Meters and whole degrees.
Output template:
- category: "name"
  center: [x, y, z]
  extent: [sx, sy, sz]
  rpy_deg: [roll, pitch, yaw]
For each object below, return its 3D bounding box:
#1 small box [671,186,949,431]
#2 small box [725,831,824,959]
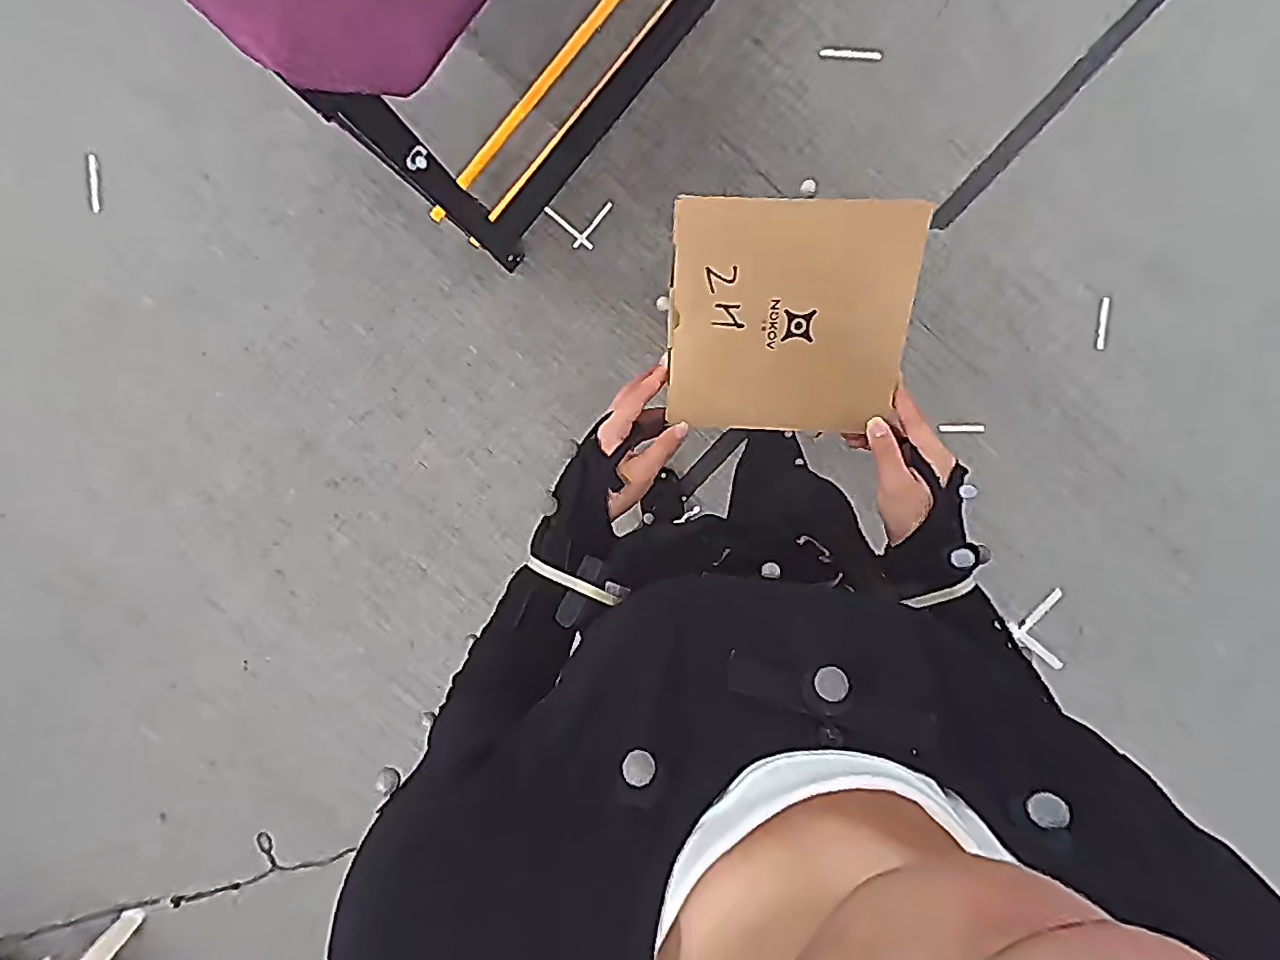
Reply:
- category: "small box"
  center: [0.120, -0.149, 0.462]
  extent: [0.179, 0.176, 0.168]
  rpy_deg: [4, 114, 4]
- category: "small box"
  center: [0.331, 1.054, 1.373]
  extent: [0.168, 0.176, 0.179]
  rpy_deg: [36, 96, -1]
